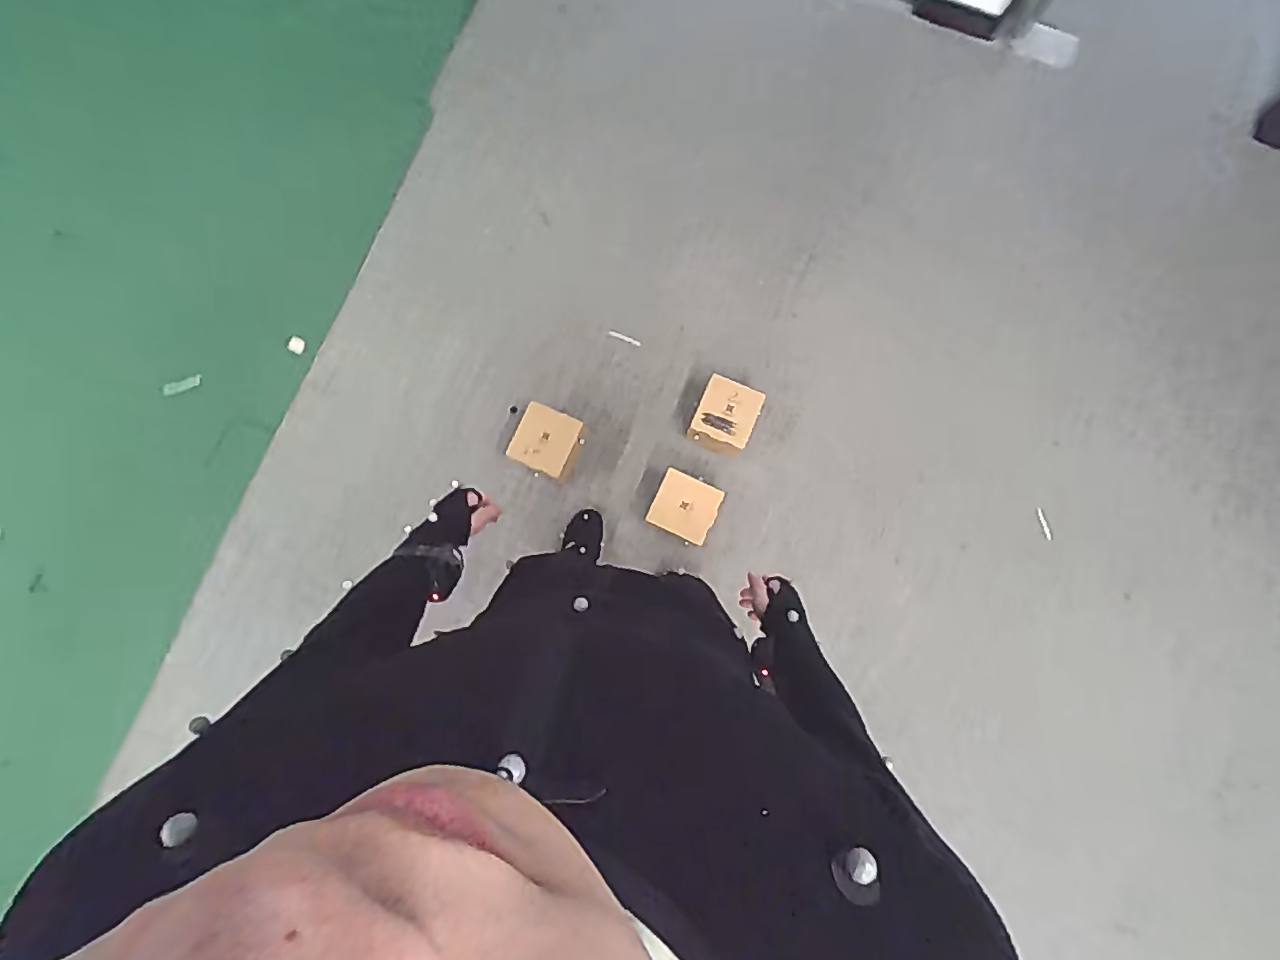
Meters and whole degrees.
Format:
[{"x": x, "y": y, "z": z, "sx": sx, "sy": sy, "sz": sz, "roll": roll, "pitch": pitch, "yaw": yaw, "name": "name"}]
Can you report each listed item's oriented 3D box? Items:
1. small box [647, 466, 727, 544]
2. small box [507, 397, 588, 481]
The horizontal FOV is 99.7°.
[{"x": 0.128, "y": 0.078, "z": 1.563, "sx": 0.179, "sy": 0.176, "sz": 0.168, "roll": 25, "pitch": 85, "yaw": 2, "name": "small box"}, {"x": -0.261, "y": -0.113, "z": 1.581, "sx": 0.168, "sy": 0.176, "sz": 0.179, "roll": 25, "pitch": 85, "yaw": 3, "name": "small box"}]
